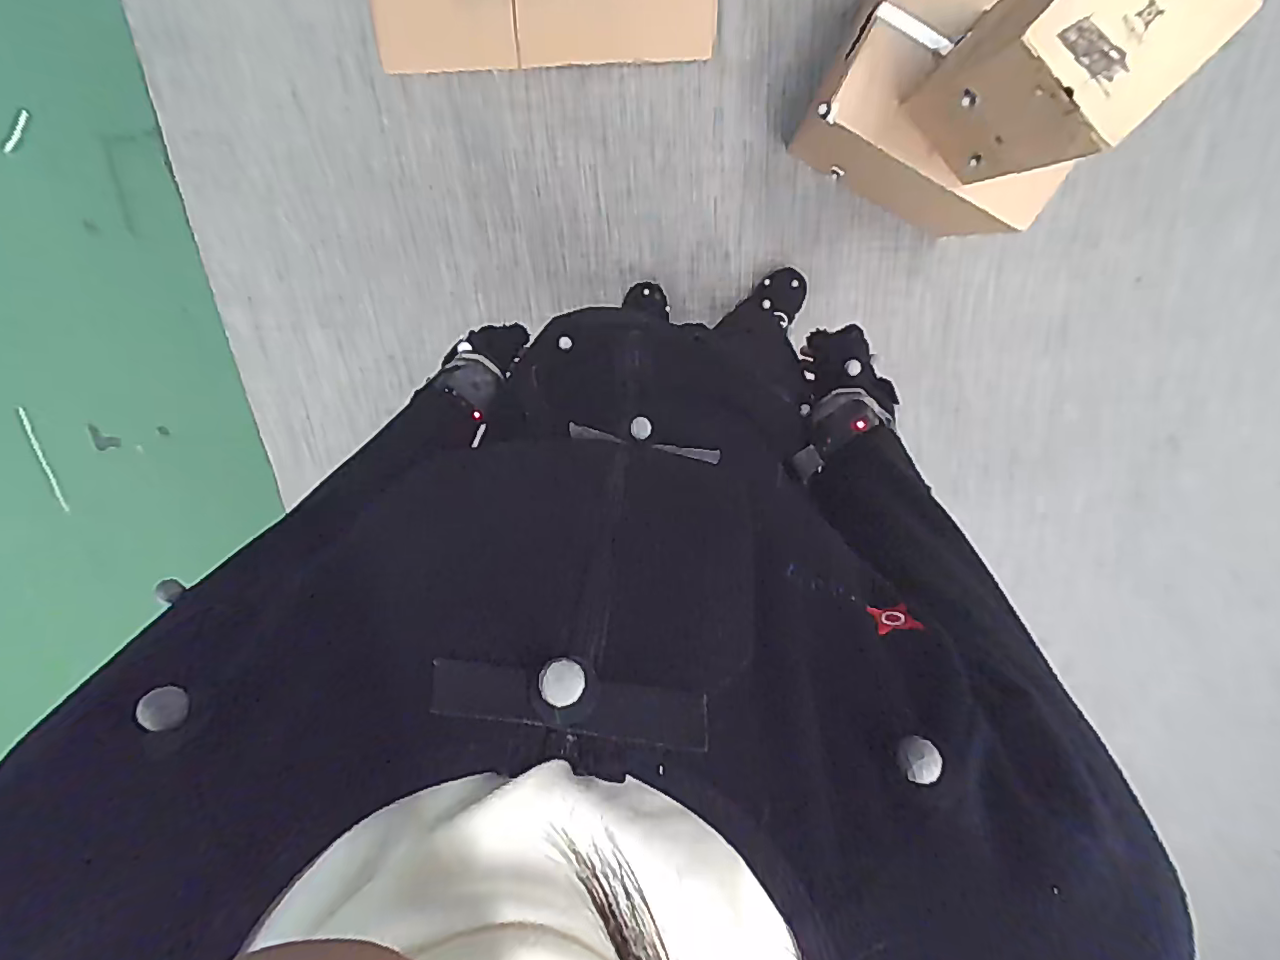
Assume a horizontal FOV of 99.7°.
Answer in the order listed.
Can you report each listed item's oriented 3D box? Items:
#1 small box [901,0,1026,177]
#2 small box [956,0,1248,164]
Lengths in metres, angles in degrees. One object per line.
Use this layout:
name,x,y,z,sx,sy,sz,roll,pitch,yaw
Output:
small box,0.526,-0.574,0.789,0.179,0.176,0.168,40,108,-11
small box,0.512,-0.511,0.638,0.168,0.176,0.179,37,110,-11
